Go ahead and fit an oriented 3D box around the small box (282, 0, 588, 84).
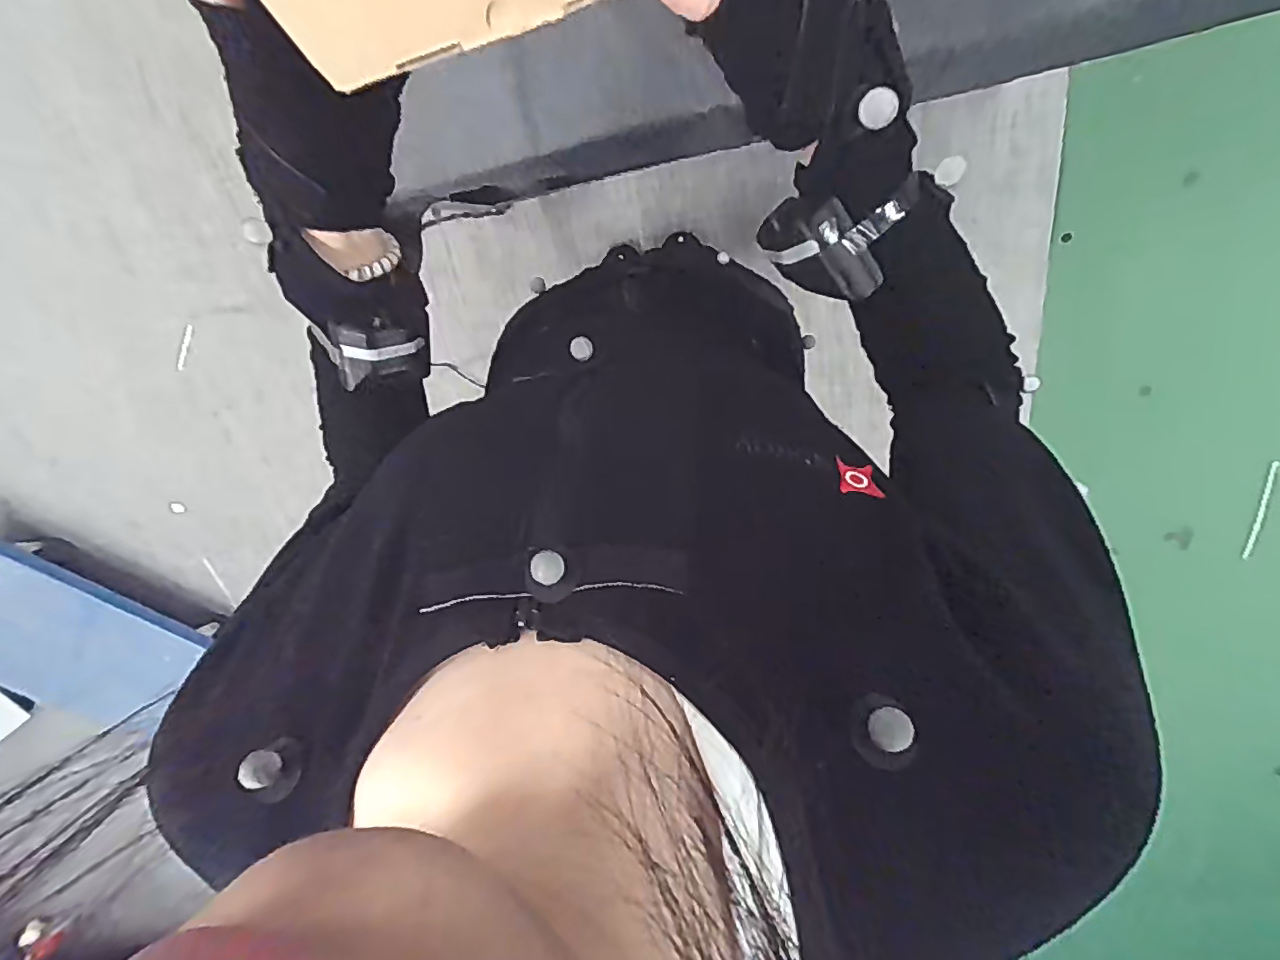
[{"bbox_3d":[-0.071,-0.281,0.160,0.168,0.179,0.176,-7,70,16],"label":"small box"}]
